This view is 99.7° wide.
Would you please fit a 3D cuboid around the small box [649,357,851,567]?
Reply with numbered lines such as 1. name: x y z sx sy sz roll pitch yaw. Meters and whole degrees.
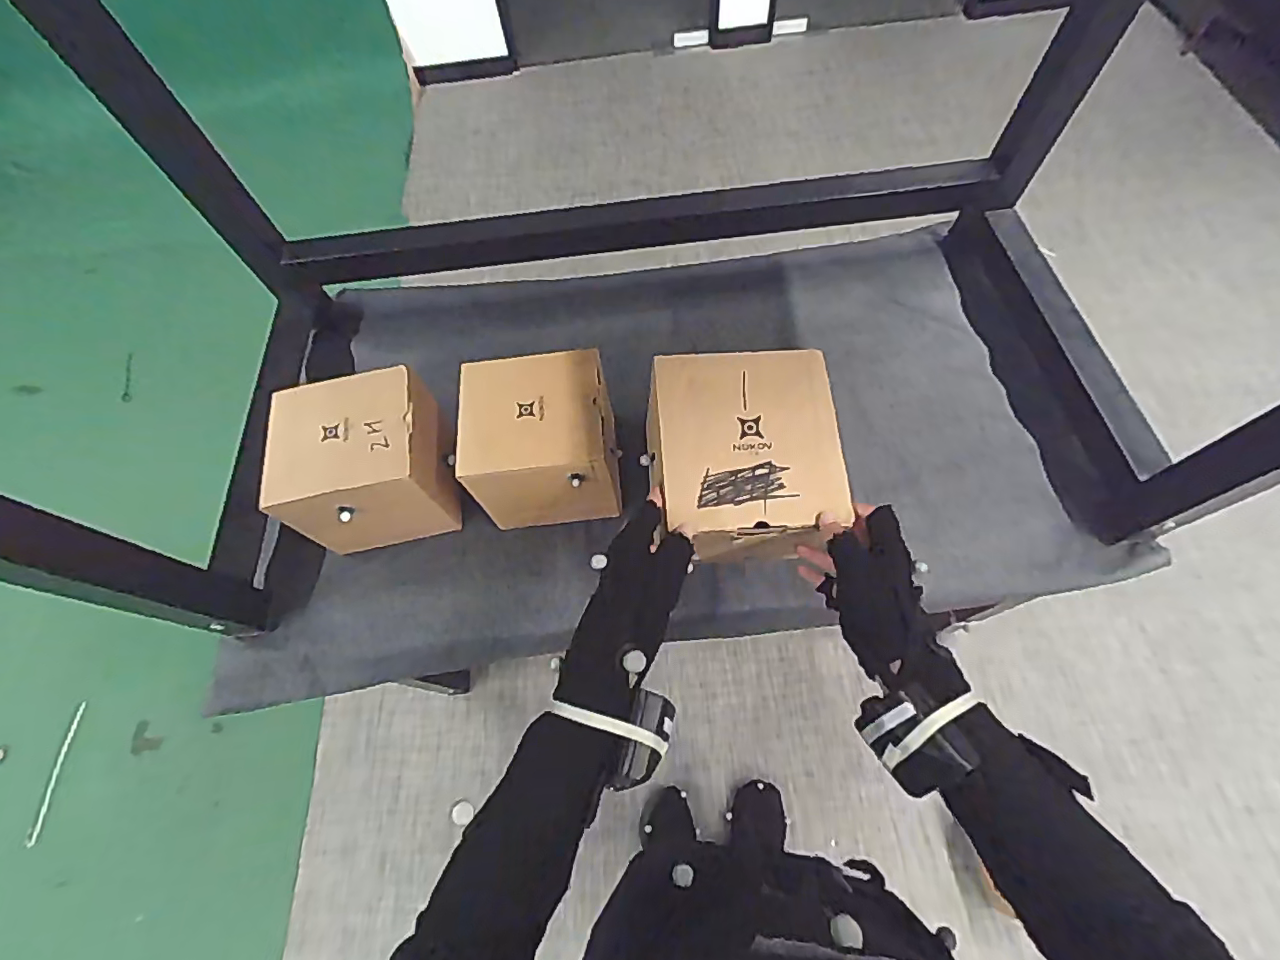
1. small box: 0.096 -0.007 0.561 0.168 0.176 0.179 -2 71 -2
